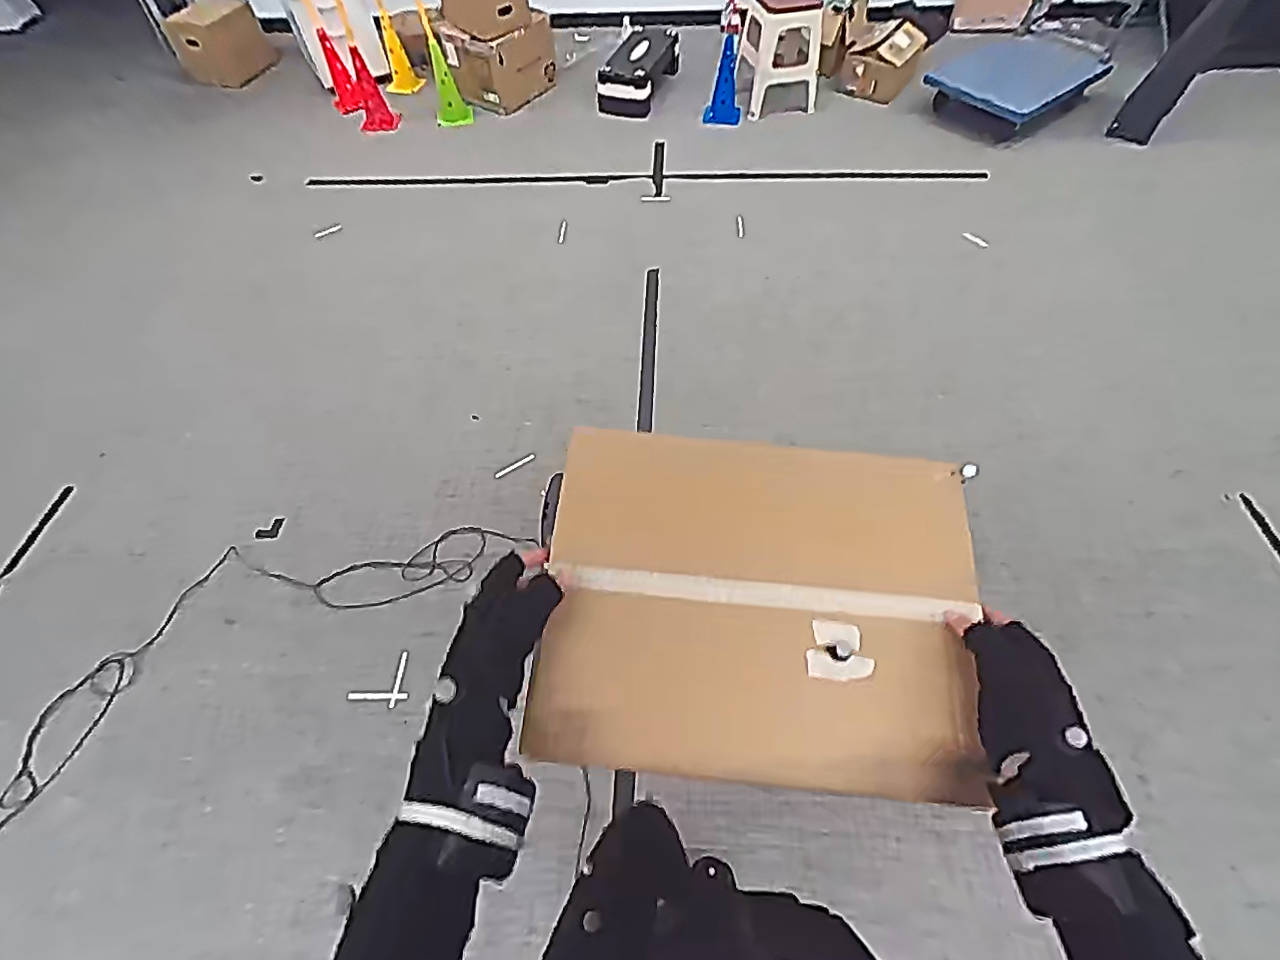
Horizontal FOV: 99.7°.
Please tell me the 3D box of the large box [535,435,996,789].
[{"bbox_3d":[0.112,0.165,0.653,0.408,0.320,0.320,5,68,0],"label":"large box"}]
